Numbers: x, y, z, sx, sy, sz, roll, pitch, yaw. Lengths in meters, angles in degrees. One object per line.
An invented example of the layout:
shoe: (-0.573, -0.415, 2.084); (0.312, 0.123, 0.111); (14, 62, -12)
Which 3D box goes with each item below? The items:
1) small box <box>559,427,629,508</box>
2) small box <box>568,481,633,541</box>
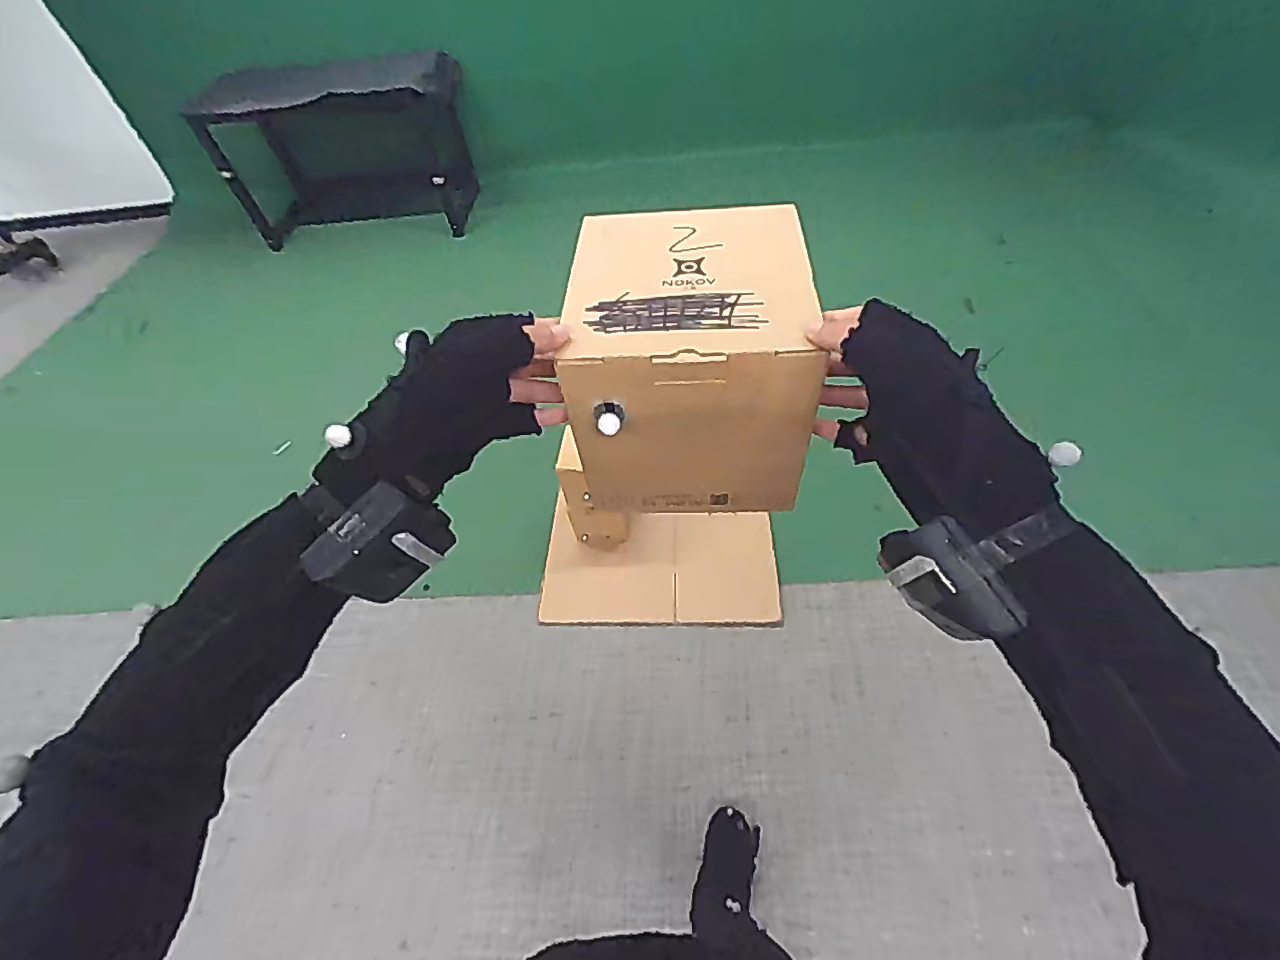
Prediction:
small box: (-0.127, -0.036, 1.584); (0.168, 0.176, 0.179); (0, 50, 8)
small box: (-0.117, 0.078, 1.700); (0.168, 0.176, 0.179); (-1, 49, 7)
